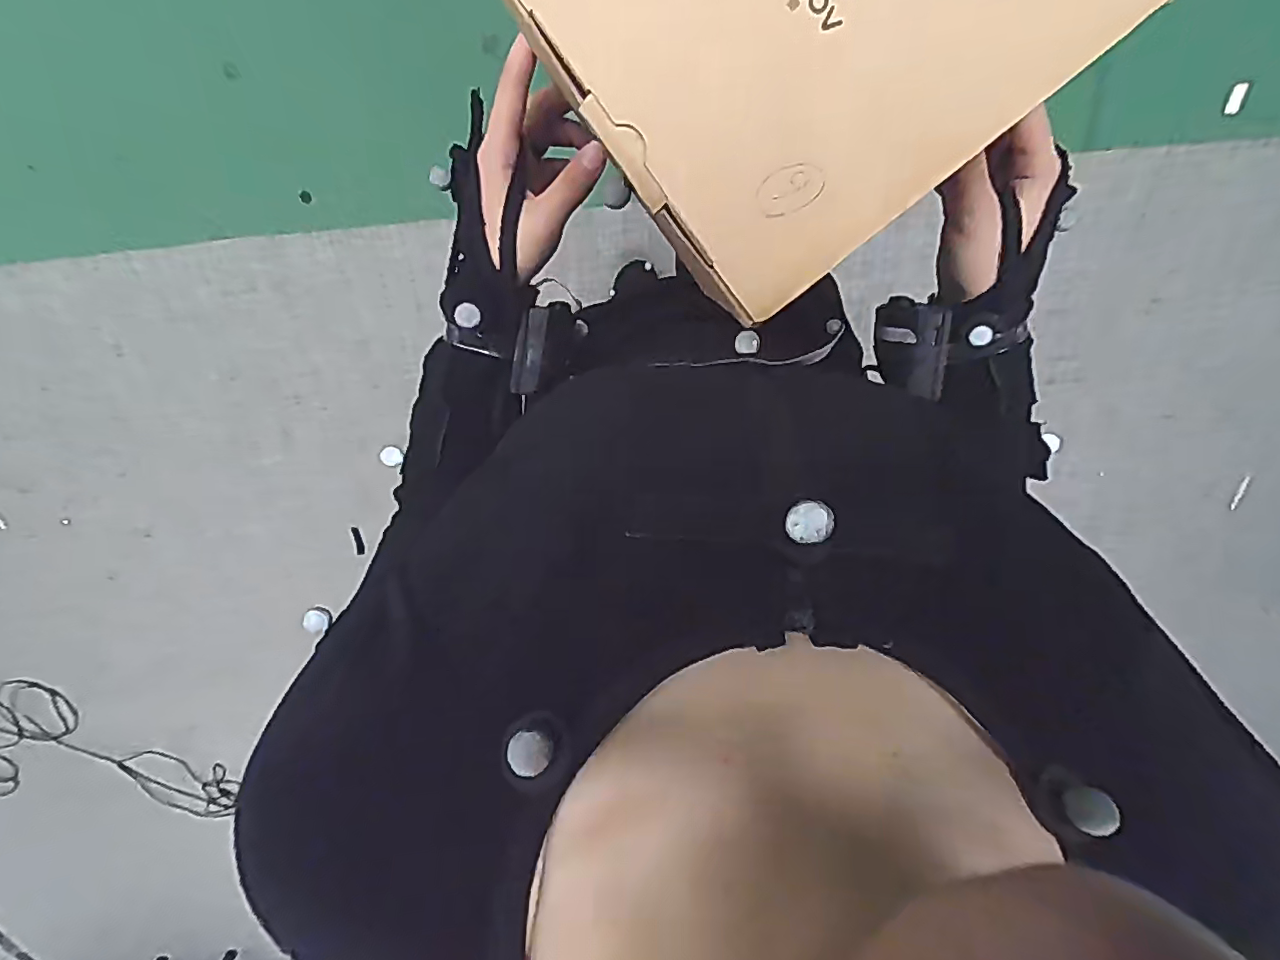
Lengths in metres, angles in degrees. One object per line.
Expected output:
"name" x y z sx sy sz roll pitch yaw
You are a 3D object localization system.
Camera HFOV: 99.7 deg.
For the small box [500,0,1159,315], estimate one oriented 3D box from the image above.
"small box" 0.061 -0.203 0.250 0.179 0.176 0.168 -37 108 16
